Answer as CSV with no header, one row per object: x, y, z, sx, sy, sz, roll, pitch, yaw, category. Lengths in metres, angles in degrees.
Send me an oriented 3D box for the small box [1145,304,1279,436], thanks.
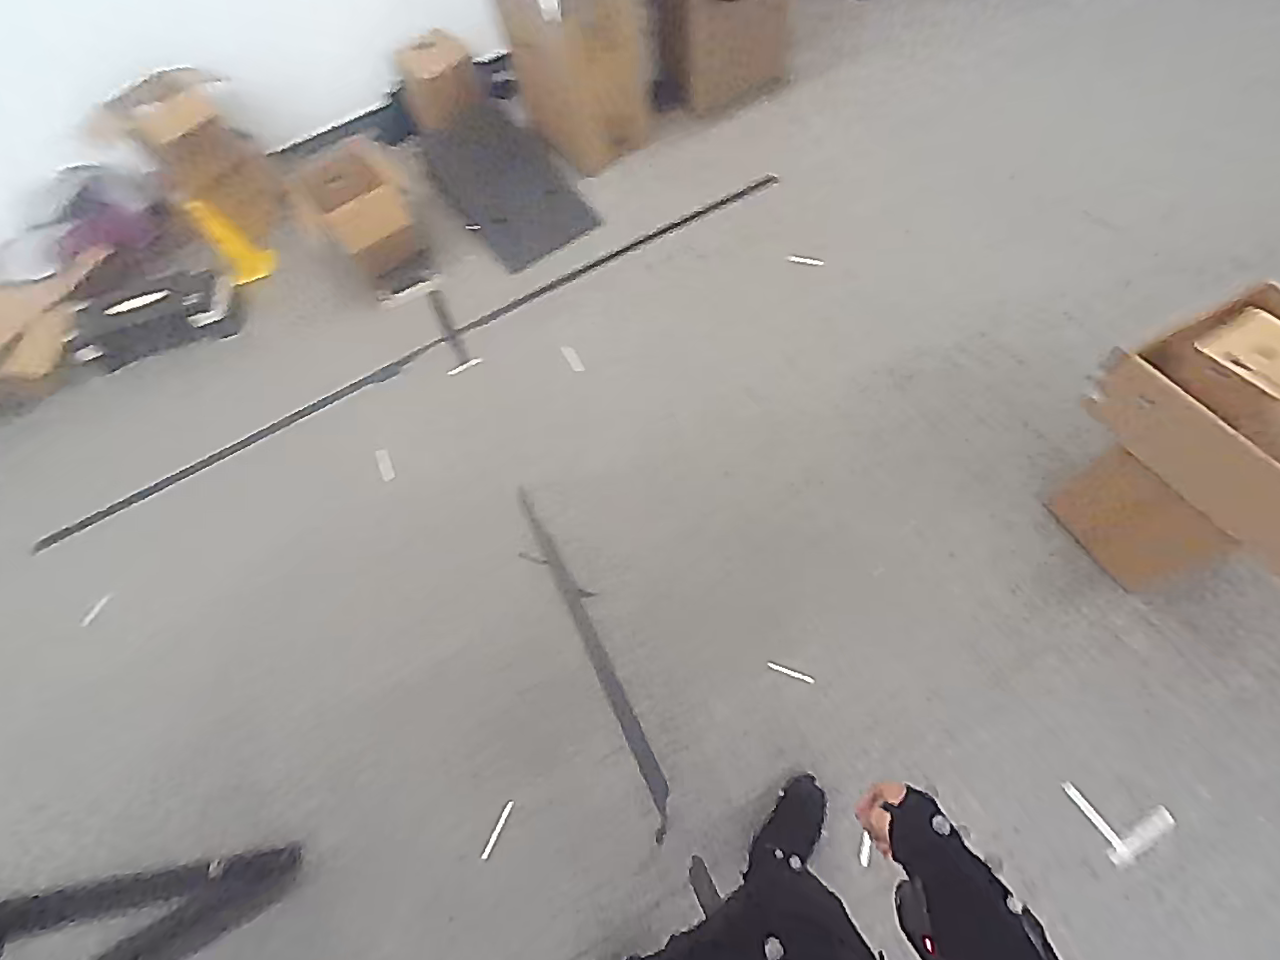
1.238,-0.226,1.134,0.179,0.176,0.168,-30,61,-7,small box
